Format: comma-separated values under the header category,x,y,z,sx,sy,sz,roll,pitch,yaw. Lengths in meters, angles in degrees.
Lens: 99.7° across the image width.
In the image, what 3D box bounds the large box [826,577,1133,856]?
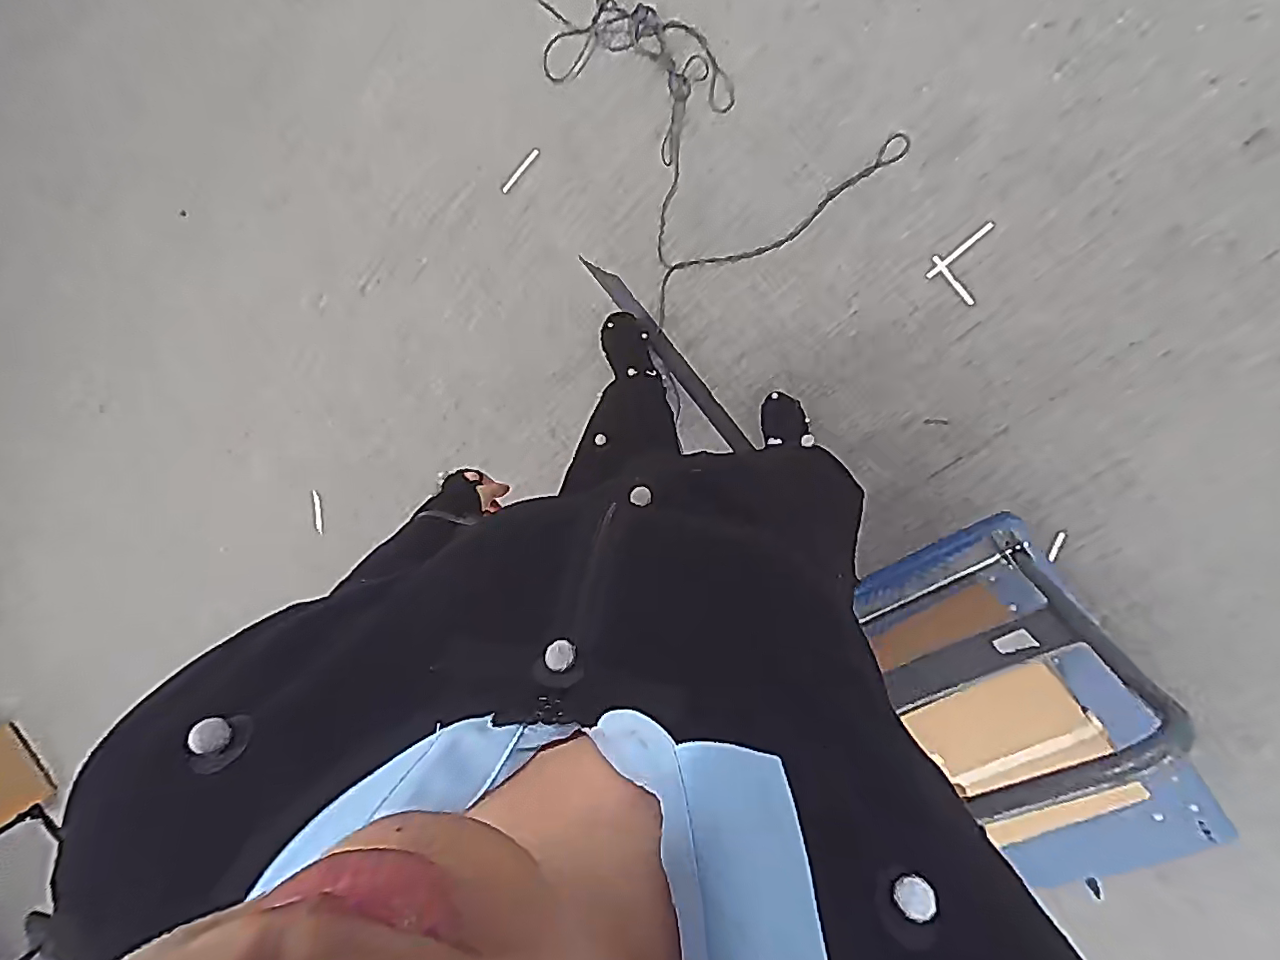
category,x,y,z,sx,sy,sz,roll,pitch,yaw
large box,0.653,0.476,1.131,0.408,0.320,0.320,-39,90,23
